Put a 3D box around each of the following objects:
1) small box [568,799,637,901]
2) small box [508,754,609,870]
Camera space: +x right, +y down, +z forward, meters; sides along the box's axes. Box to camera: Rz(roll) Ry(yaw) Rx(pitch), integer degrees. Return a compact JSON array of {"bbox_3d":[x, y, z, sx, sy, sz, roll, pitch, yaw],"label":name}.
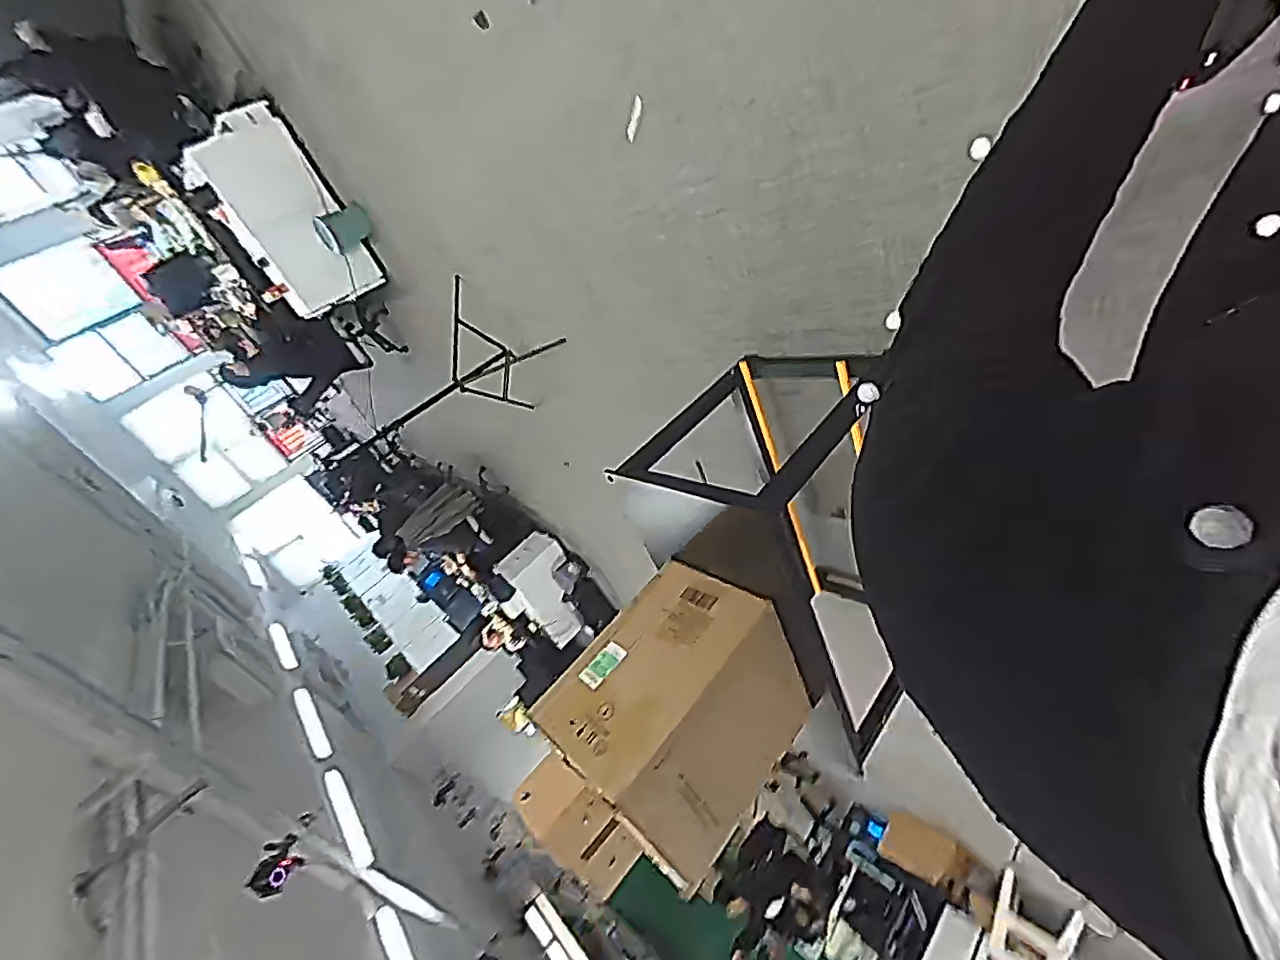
[{"bbox_3d":[-0.129,1.041,1.557,0.179,0.176,0.168,12,136,52],"label":"small box"},{"bbox_3d":[-0.213,0.868,1.436,0.179,0.176,0.168,15,140,51],"label":"small box"}]
